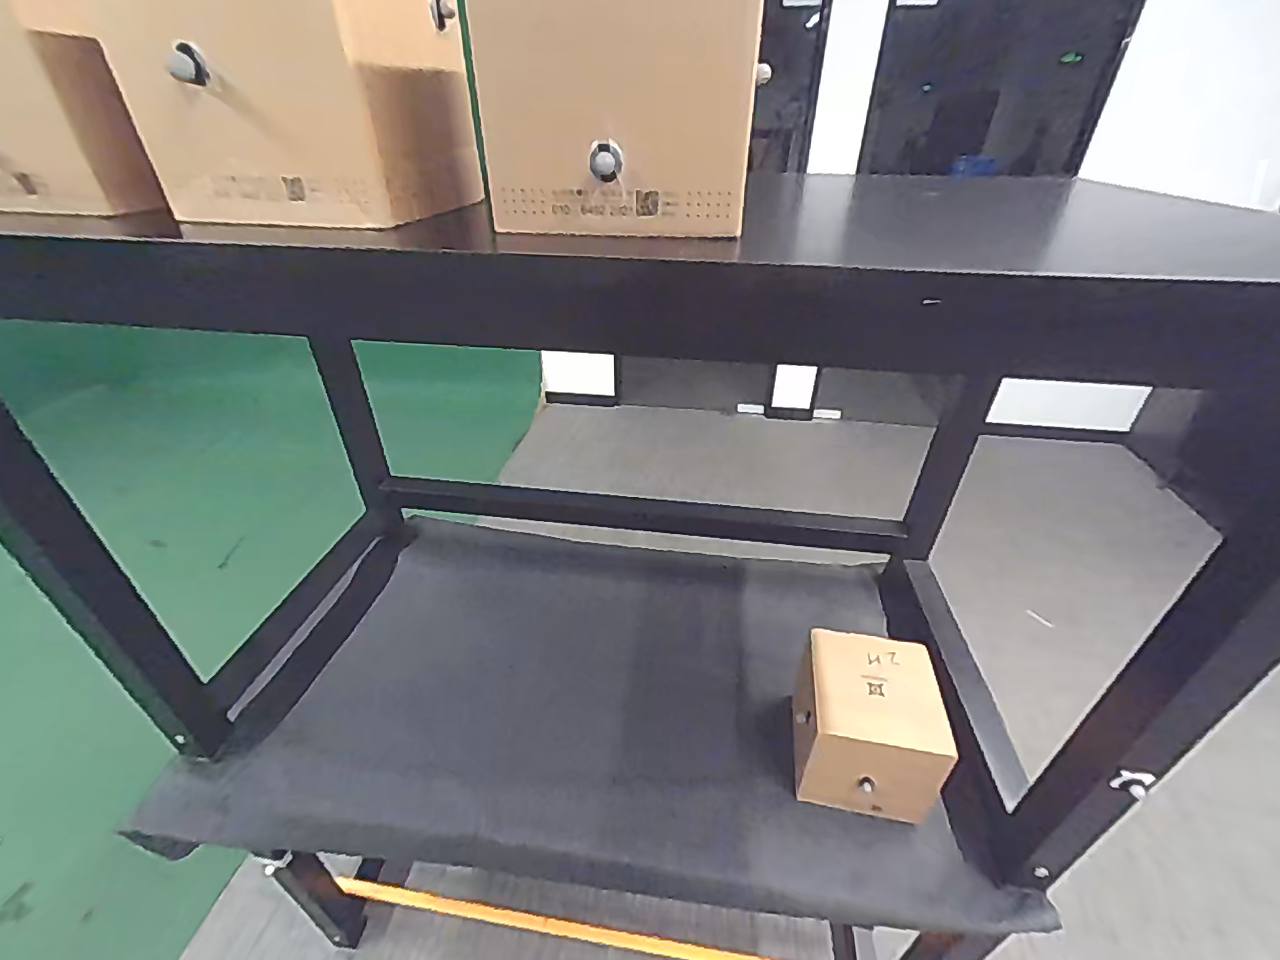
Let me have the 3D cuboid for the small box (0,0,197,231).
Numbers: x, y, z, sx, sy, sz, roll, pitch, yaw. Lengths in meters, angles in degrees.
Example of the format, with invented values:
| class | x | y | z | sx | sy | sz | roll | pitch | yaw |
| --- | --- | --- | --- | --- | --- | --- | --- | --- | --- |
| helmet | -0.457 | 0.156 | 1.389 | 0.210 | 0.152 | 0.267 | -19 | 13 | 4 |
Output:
| class | x | y | z | sx | sy | sz | roll | pitch | yaw |
| --- | --- | --- | --- | --- | --- | --- | --- | --- | --- |
| small box | -0.466 | -0.317 | 0.452 | 0.168 | 0.176 | 0.179 | 5 | 35 | 7 |

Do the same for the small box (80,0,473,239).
| class | x | y | z | sx | sy | sz | roll | pitch | yaw |
| --- | --- | --- | --- | --- | --- | --- | --- | --- | --- |
| small box | -0.245 | -0.288 | 0.414 | 0.168 | 0.176 | 0.179 | 5 | 33 | 8 |

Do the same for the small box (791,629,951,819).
| class | x | y | z | sx | sy | sz | roll | pitch | yaw |
| --- | --- | --- | --- | --- | --- | --- | --- | --- | --- |
| small box | 0.314 | 0.346 | 0.774 | 0.168 | 0.176 | 0.179 | 7 | 33 | 10 |
